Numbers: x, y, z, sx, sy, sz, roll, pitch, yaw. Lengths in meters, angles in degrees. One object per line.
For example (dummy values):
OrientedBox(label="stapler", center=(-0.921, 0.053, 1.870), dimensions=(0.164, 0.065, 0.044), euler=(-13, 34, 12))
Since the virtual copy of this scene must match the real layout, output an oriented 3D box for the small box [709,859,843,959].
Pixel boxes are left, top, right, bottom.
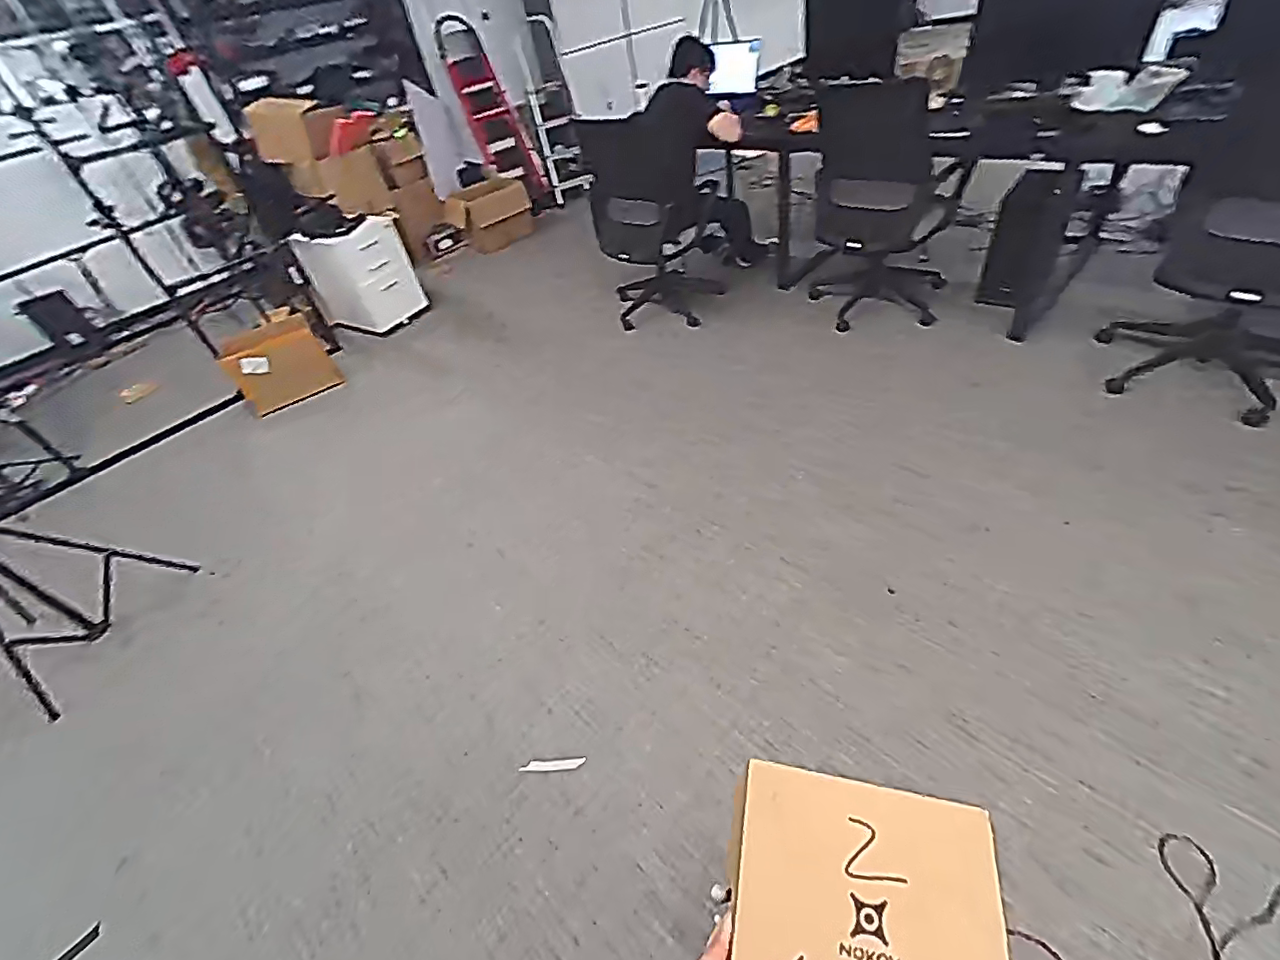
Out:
OrientedBox(label="small box", center=(0.248, 0.847, 0.979), dimensions=(0.168, 0.176, 0.179), euler=(27, 56, 36))
